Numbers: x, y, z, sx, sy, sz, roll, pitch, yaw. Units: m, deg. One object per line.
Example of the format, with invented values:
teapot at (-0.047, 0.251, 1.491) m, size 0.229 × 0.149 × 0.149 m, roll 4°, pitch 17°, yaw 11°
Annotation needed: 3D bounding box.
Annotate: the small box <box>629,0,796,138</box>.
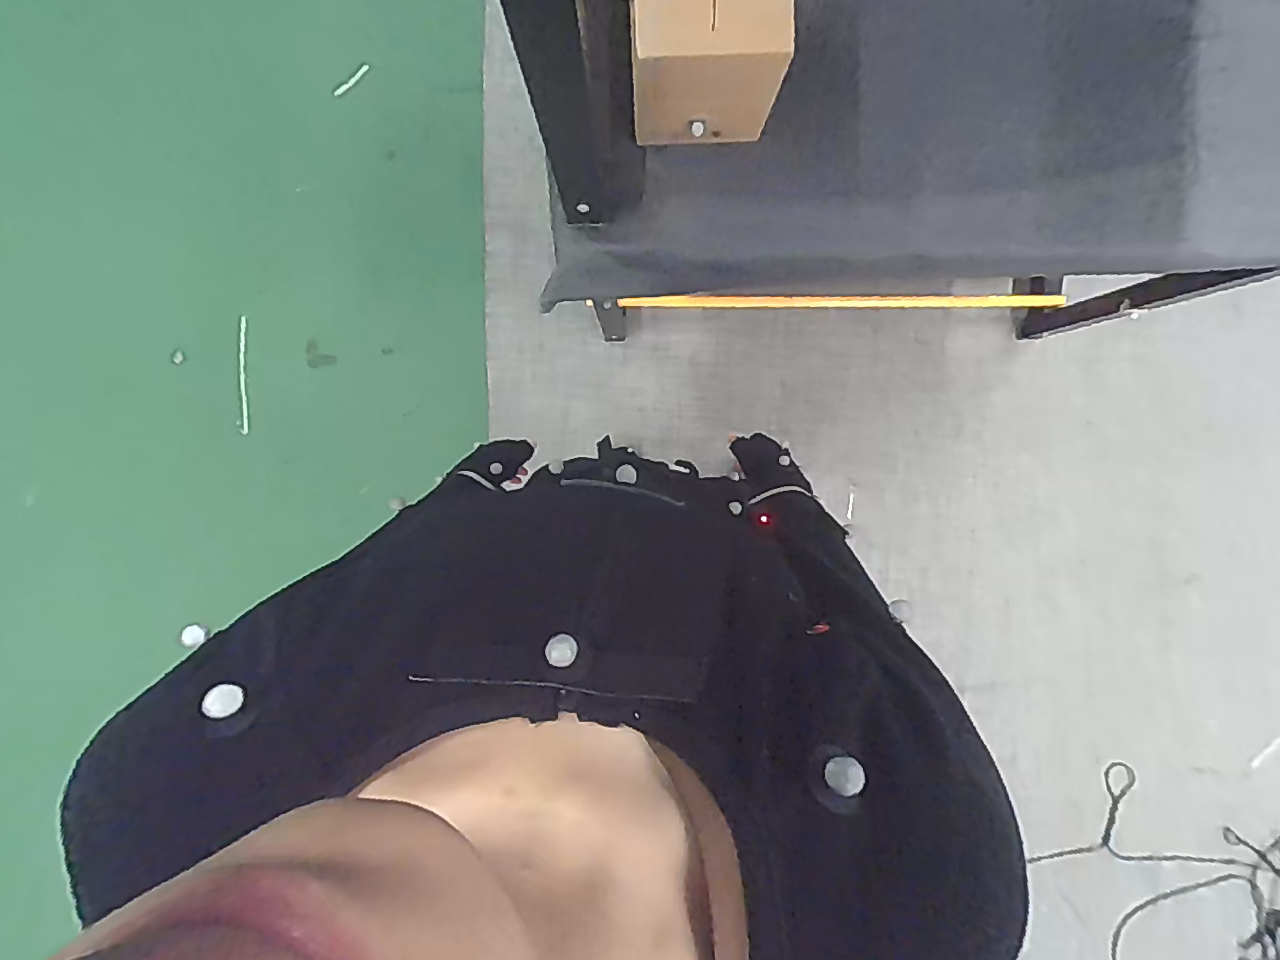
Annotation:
small box at (0.073, -0.532, 0.623) m, size 0.168 × 0.176 × 0.179 m, roll -3°, pitch 94°, yaw 0°
